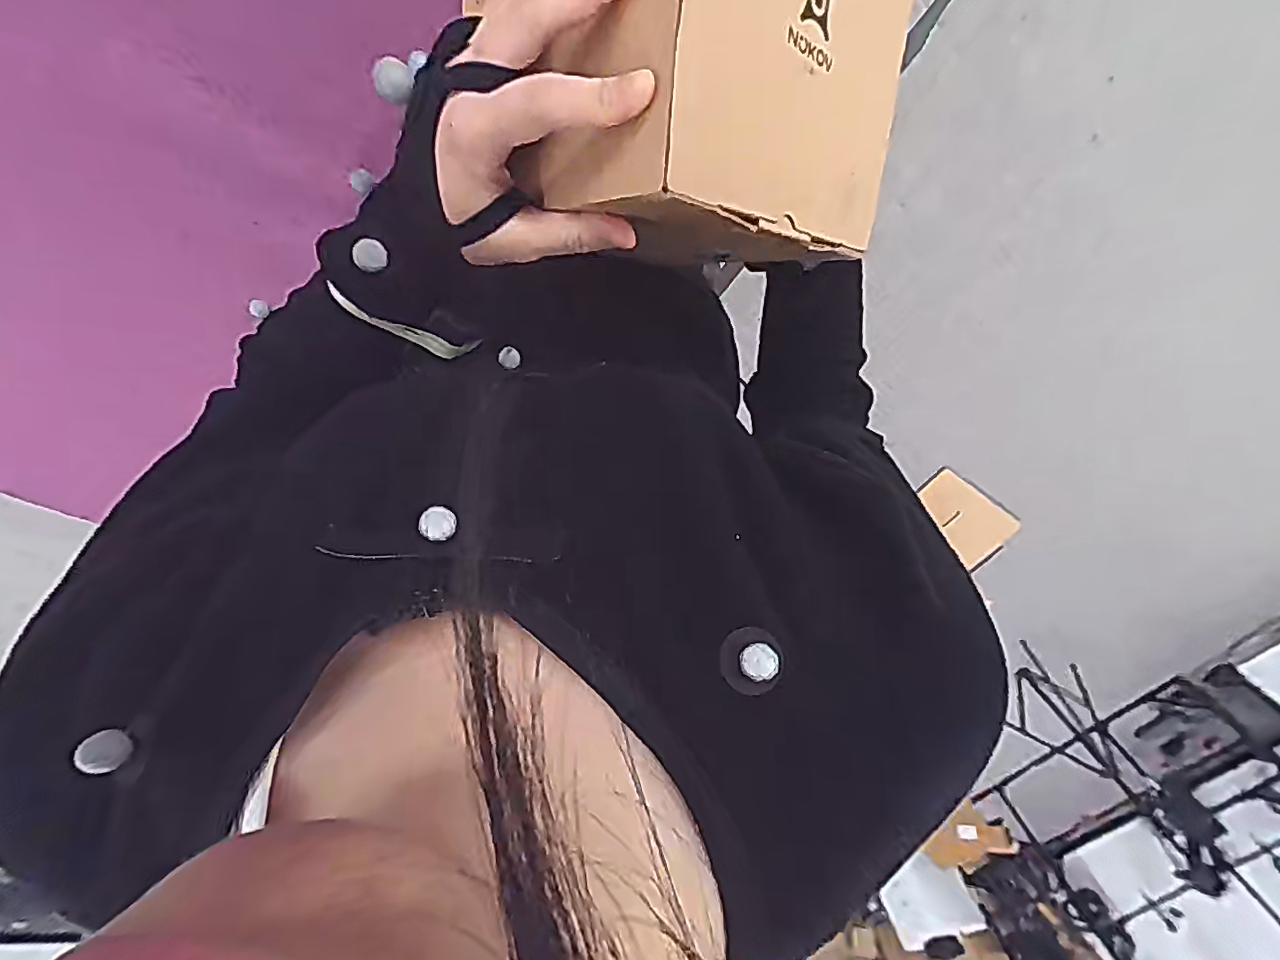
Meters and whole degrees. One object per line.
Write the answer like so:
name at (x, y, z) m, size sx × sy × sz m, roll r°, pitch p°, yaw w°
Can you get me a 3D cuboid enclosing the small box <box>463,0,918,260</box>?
small box at (0.020, -0.219, 0.284) m, size 0.168 × 0.176 × 0.179 m, roll -11°, pitch 111°, yaw -42°
